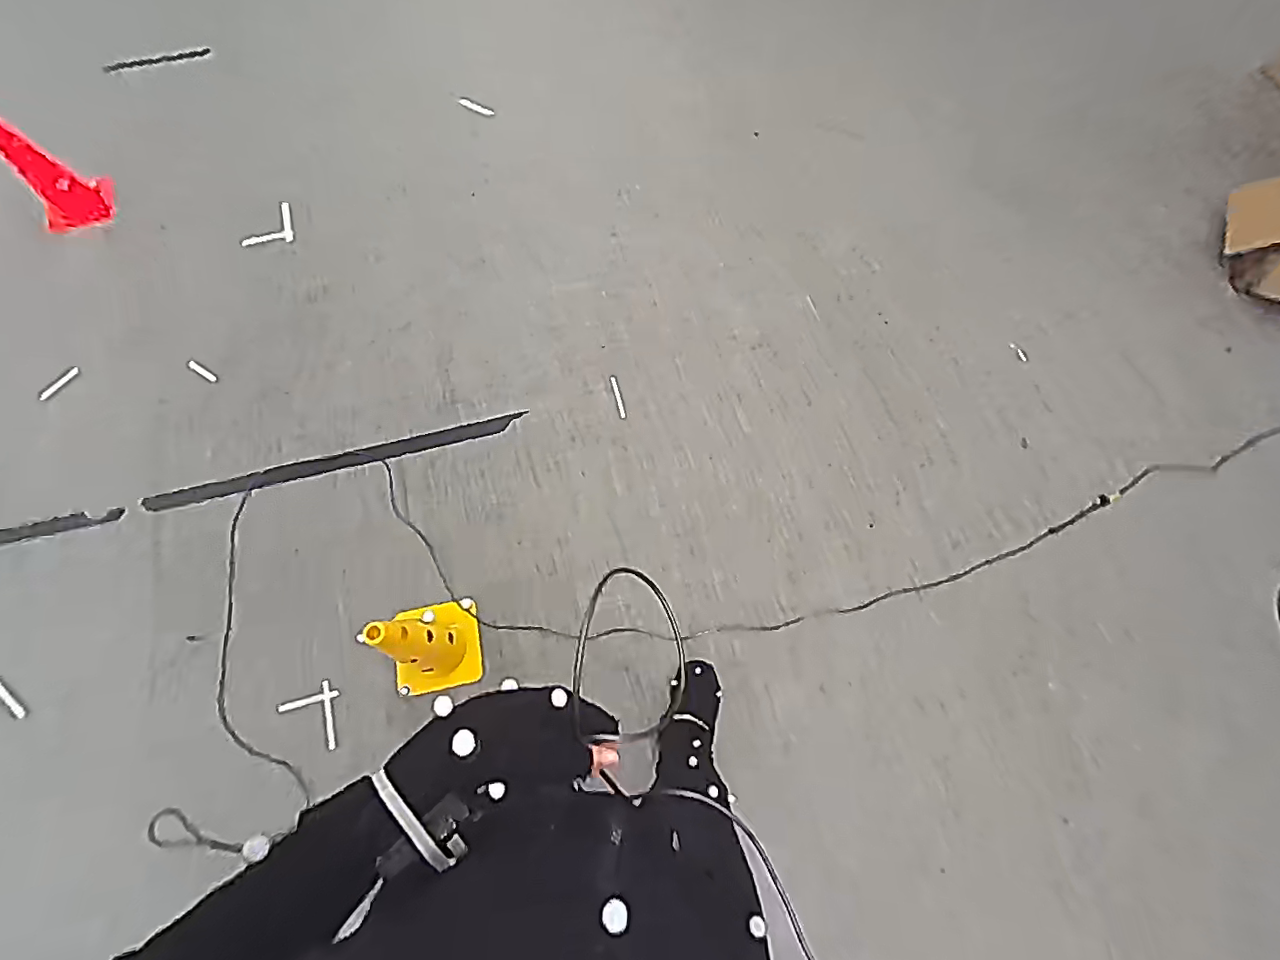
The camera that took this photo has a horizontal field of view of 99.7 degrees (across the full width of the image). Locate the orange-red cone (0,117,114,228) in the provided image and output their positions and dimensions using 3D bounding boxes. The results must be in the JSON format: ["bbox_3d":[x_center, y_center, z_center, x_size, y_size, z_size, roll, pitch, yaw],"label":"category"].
[{"bbox_3d":[-1.846,-0.979,1.622,0.199,0.360,0.198,-19,70,-6],"label":"orange-red cone"}]
